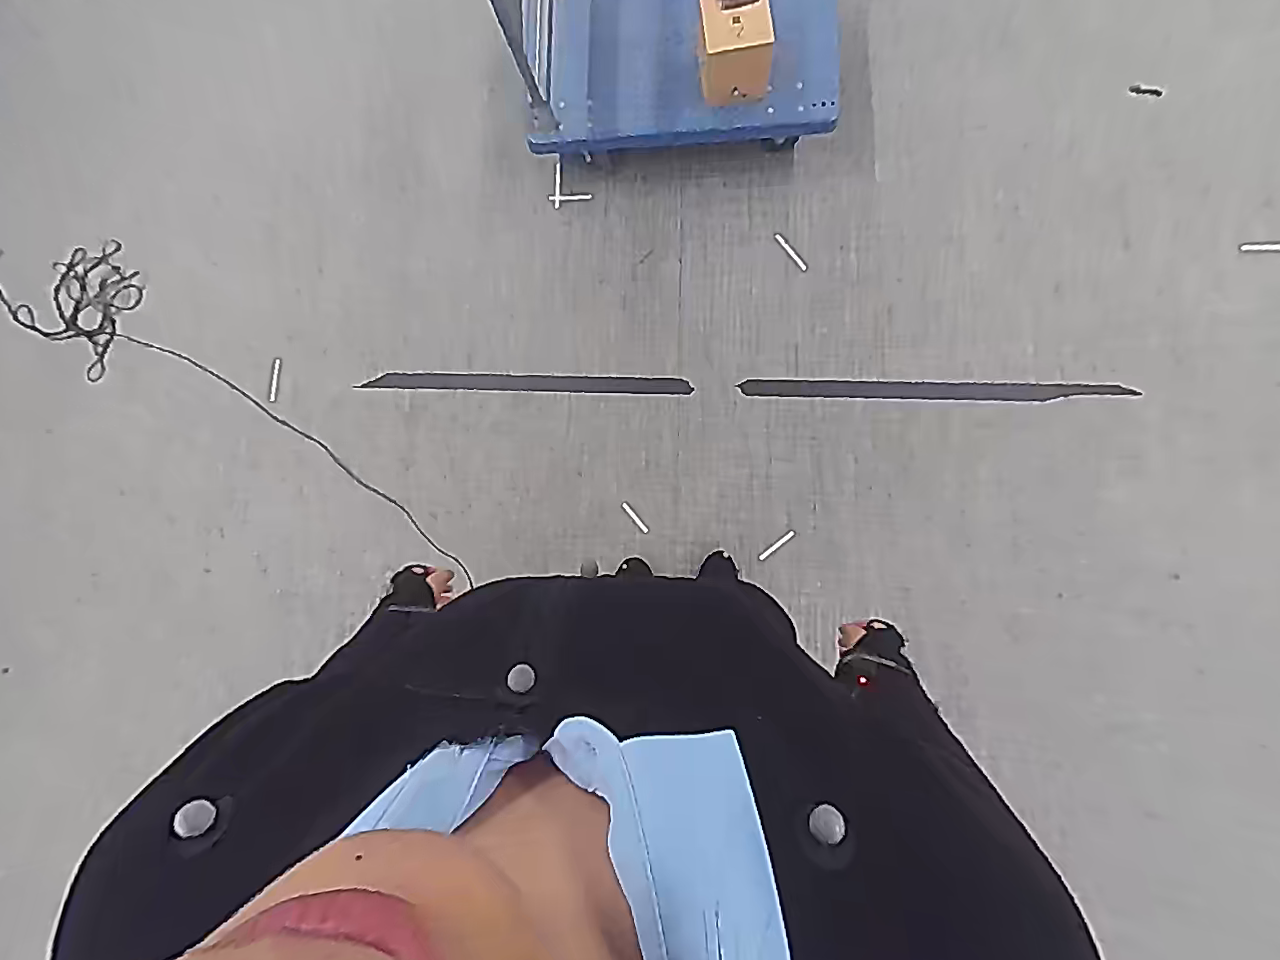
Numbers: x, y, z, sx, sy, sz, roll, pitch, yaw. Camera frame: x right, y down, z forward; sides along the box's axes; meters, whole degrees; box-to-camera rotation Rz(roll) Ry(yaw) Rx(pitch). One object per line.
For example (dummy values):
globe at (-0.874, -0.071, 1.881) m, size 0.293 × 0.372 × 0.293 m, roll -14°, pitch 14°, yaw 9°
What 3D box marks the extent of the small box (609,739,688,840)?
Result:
small box at (0.026, 0.772, 1.342) m, size 0.168 × 0.176 × 0.179 m, roll -10°, pitch 81°, yaw 3°
